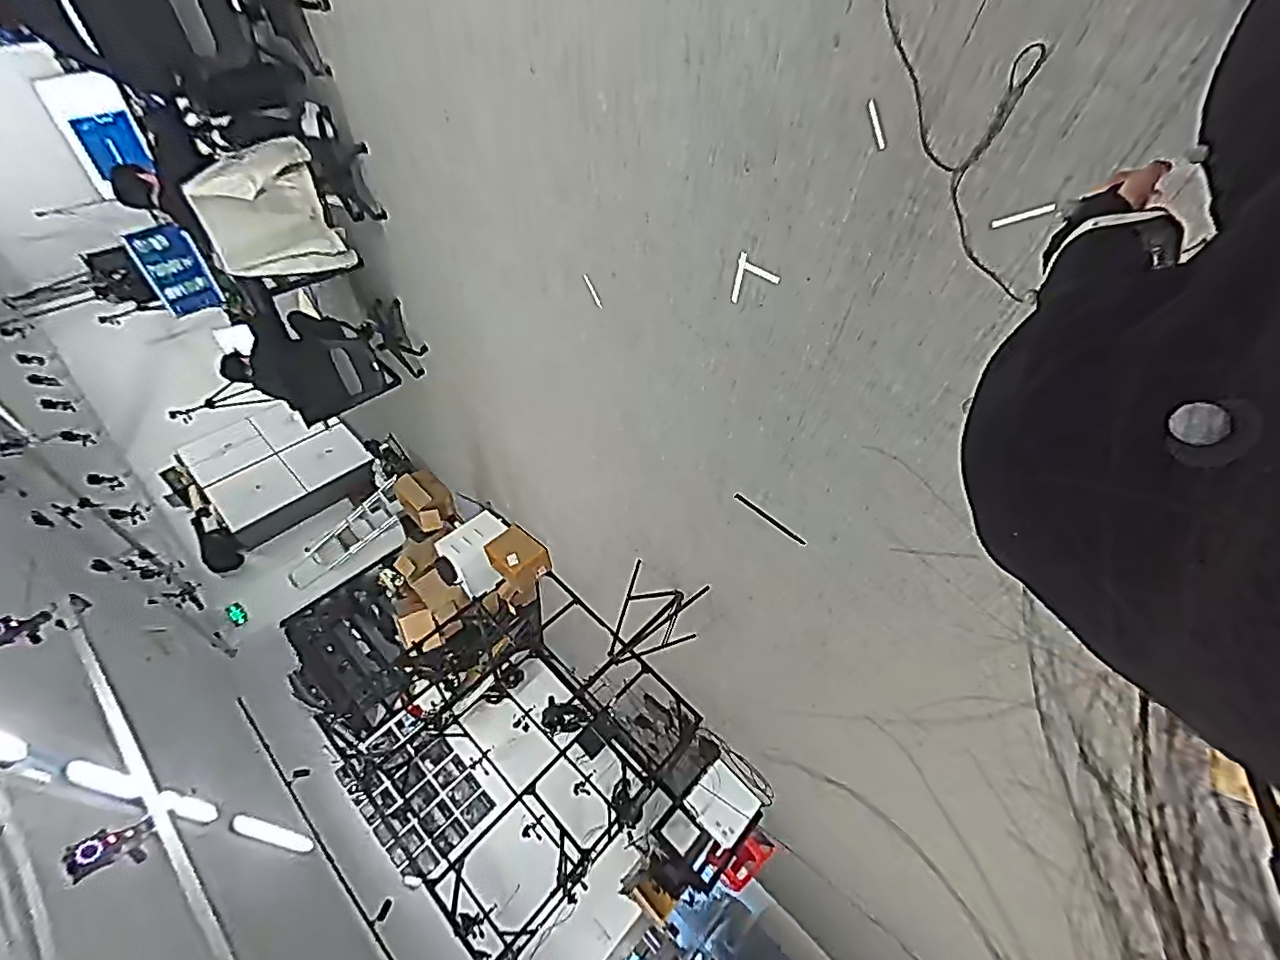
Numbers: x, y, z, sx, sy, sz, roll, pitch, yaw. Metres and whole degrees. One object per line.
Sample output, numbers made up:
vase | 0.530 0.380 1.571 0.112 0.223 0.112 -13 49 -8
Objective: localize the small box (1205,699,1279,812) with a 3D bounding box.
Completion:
small box | 1.568 0.696 1.372 0.168 0.176 0.179 8 129 52
